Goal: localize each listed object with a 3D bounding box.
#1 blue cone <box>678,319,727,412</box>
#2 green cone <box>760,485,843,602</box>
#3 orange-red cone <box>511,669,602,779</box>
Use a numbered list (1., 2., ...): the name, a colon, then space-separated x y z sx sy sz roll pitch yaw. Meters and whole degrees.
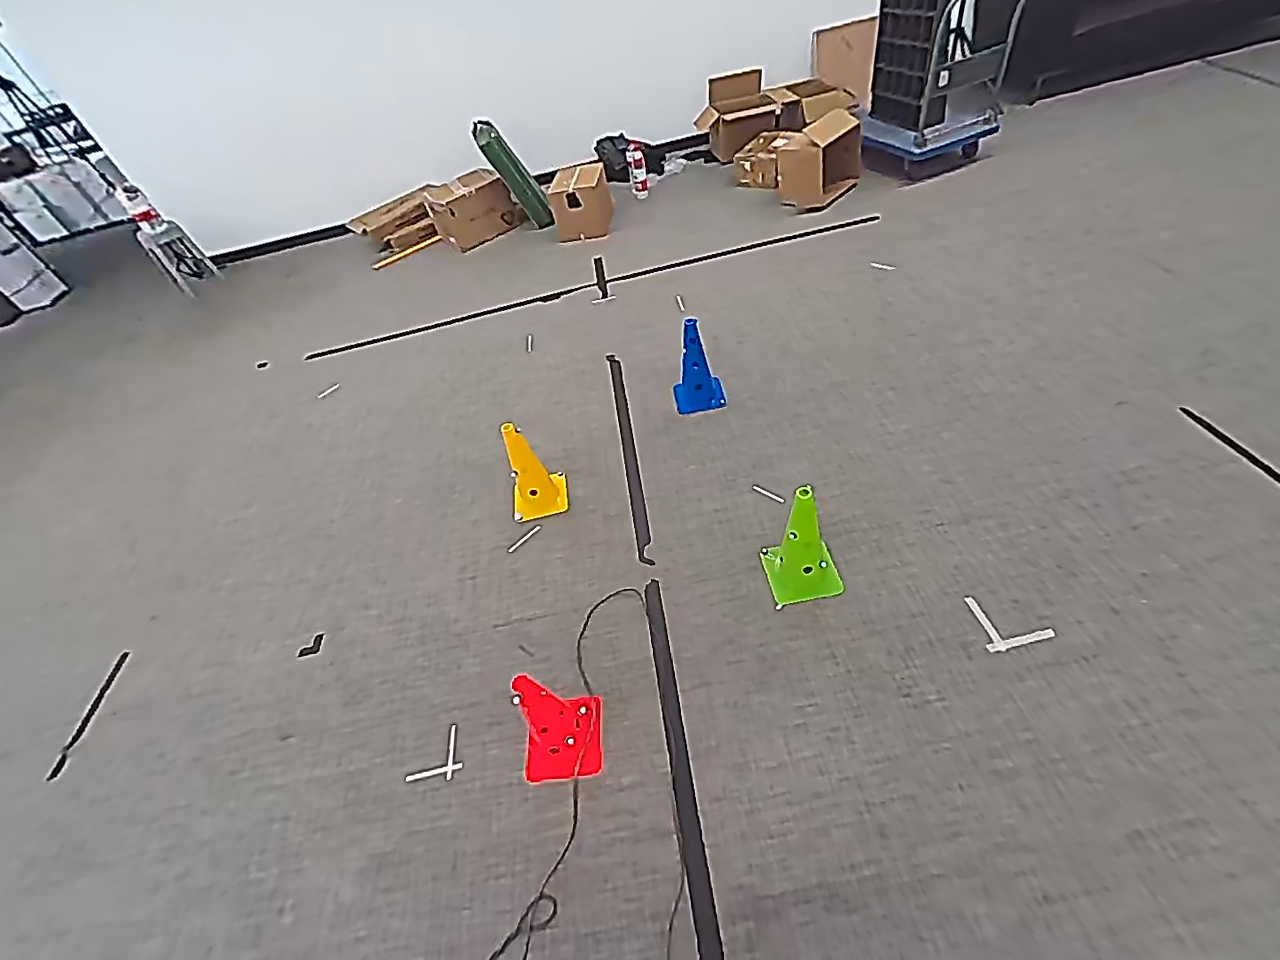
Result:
1. blue cone: 0.231 -0.462 2.140 0.192 0.380 0.193 -9 47 4
2. green cone: 0.449 0.151 1.491 0.202 0.368 0.200 -11 46 2
3. orange-red cone: -0.232 0.549 1.291 0.199 0.360 0.198 -10 45 6
